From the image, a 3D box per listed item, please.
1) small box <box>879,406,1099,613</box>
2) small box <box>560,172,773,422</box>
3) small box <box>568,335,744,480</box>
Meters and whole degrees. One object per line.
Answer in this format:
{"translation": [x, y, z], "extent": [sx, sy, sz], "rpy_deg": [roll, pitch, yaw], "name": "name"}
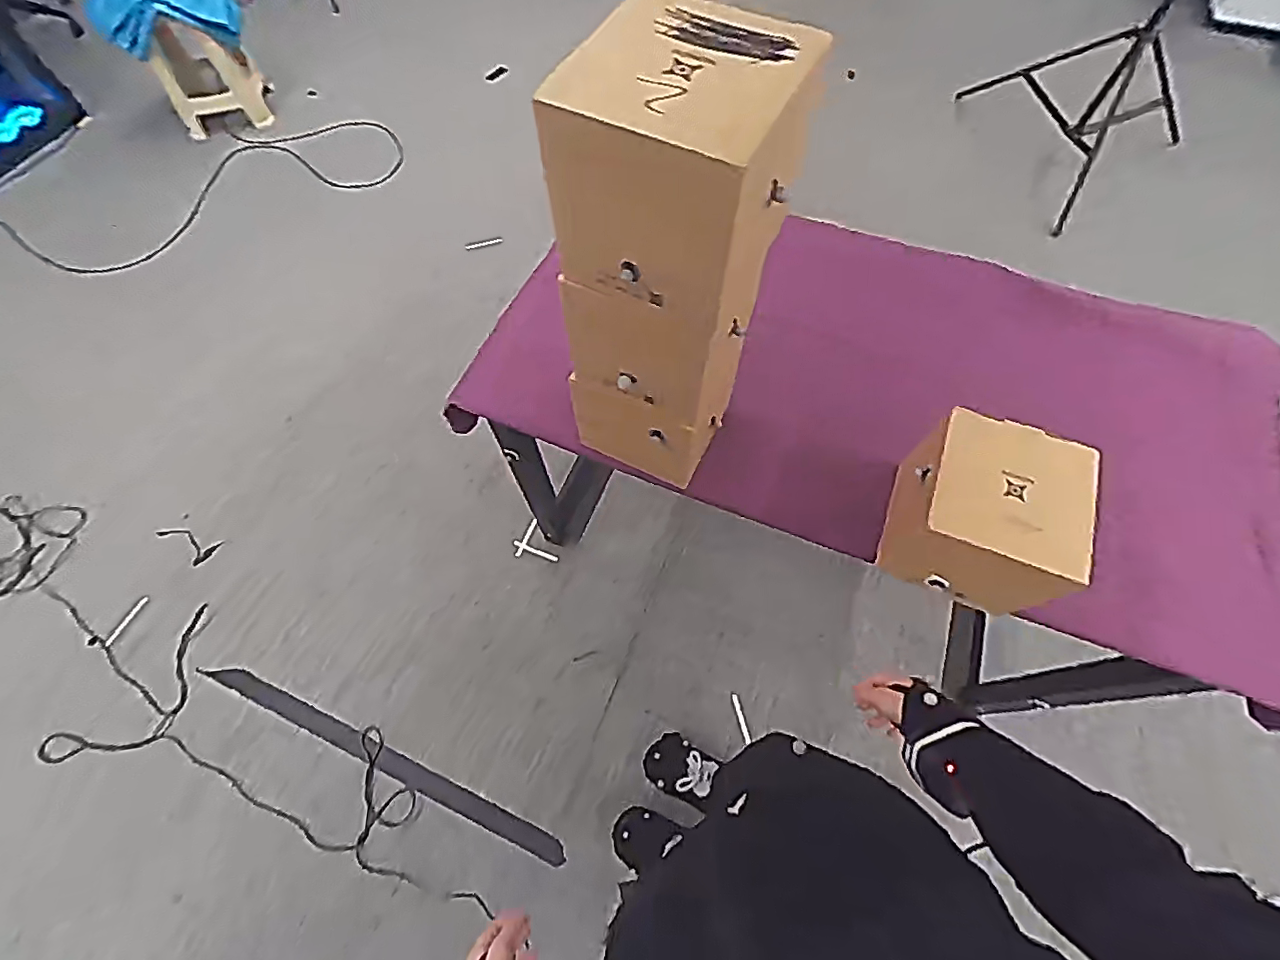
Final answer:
{"translation": [0.421, 0.043, 0.675], "extent": [0.168, 0.176, 0.179], "rpy_deg": [20, 67, 12], "name": "small box"}
{"translation": [0.029, -0.199, 0.613], "extent": [0.168, 0.176, 0.179], "rpy_deg": [23, 67, 11], "name": "small box"}
{"translation": [0.024, -0.121, 0.758], "extent": [0.179, 0.176, 0.168], "rpy_deg": [24, 66, 12], "name": "small box"}
